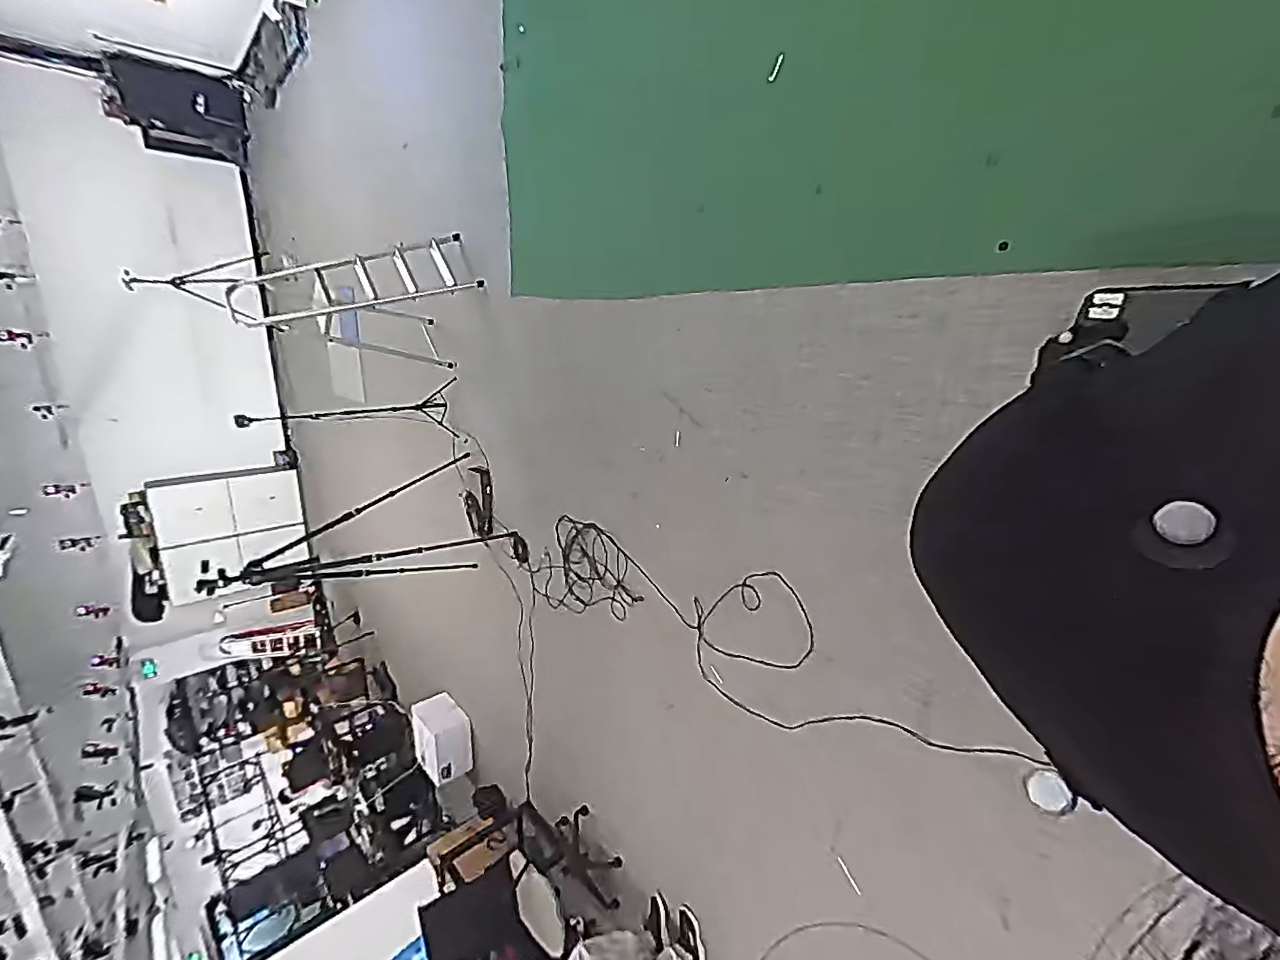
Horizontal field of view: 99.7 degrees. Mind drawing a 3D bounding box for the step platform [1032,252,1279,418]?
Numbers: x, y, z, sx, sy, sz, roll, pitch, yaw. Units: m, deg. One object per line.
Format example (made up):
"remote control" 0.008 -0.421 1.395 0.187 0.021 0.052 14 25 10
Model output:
"step platform" 1.087 -0.237 0.894 0.684 0.204 0.286 16 112 46
